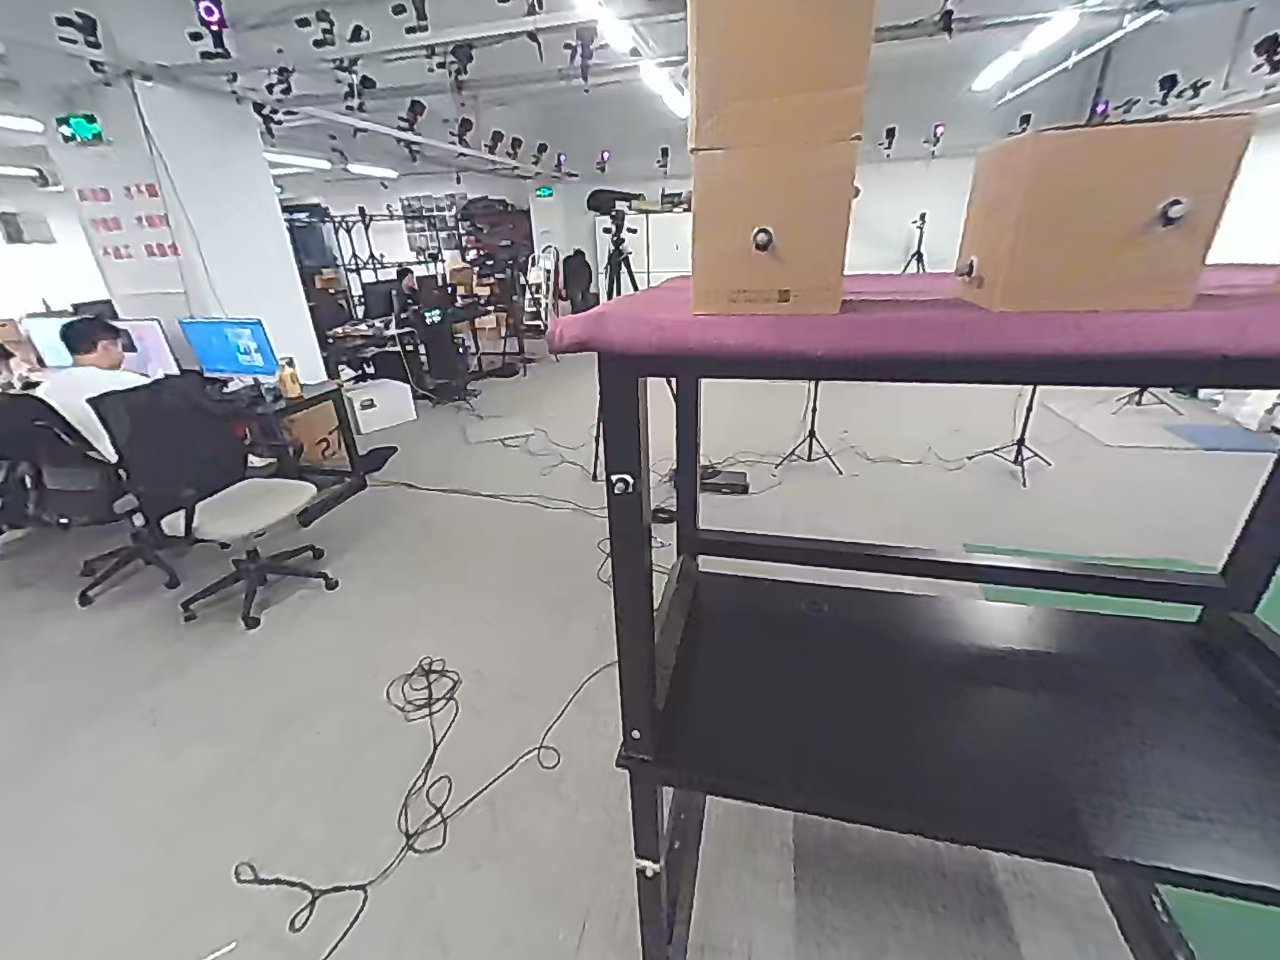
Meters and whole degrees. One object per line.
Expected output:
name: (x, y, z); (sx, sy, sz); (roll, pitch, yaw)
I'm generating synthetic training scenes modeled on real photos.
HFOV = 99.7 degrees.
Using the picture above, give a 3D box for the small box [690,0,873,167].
small box: (0.149, -0.438, 0.600); (0.179, 0.176, 0.168); (3, 25, 10)

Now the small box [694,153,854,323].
small box: (0.159, -0.289, 0.665); (0.168, 0.176, 0.179); (5, 24, 12)

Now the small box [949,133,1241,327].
small box: (0.473, -0.268, 0.600); (0.179, 0.176, 0.168); (3, 23, 13)
